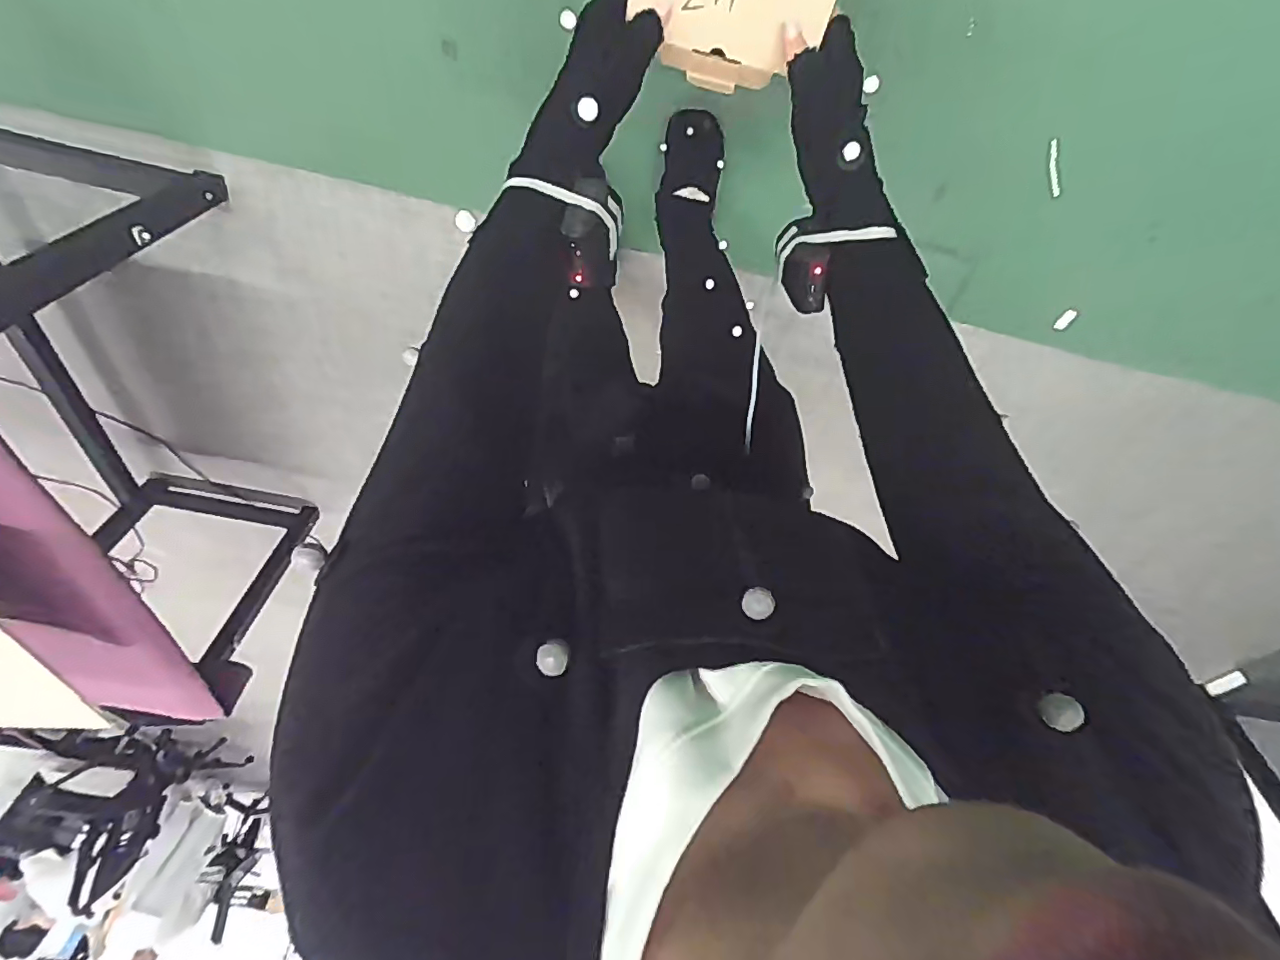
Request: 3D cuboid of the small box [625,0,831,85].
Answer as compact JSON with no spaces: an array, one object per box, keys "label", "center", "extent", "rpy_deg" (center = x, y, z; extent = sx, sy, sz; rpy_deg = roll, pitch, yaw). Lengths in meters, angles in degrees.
[{"label":"small box","center":[0.086,-0.480,0.469],"extent":[0.168,0.176,0.179],"rpy_deg":[11,134,-6]}]
